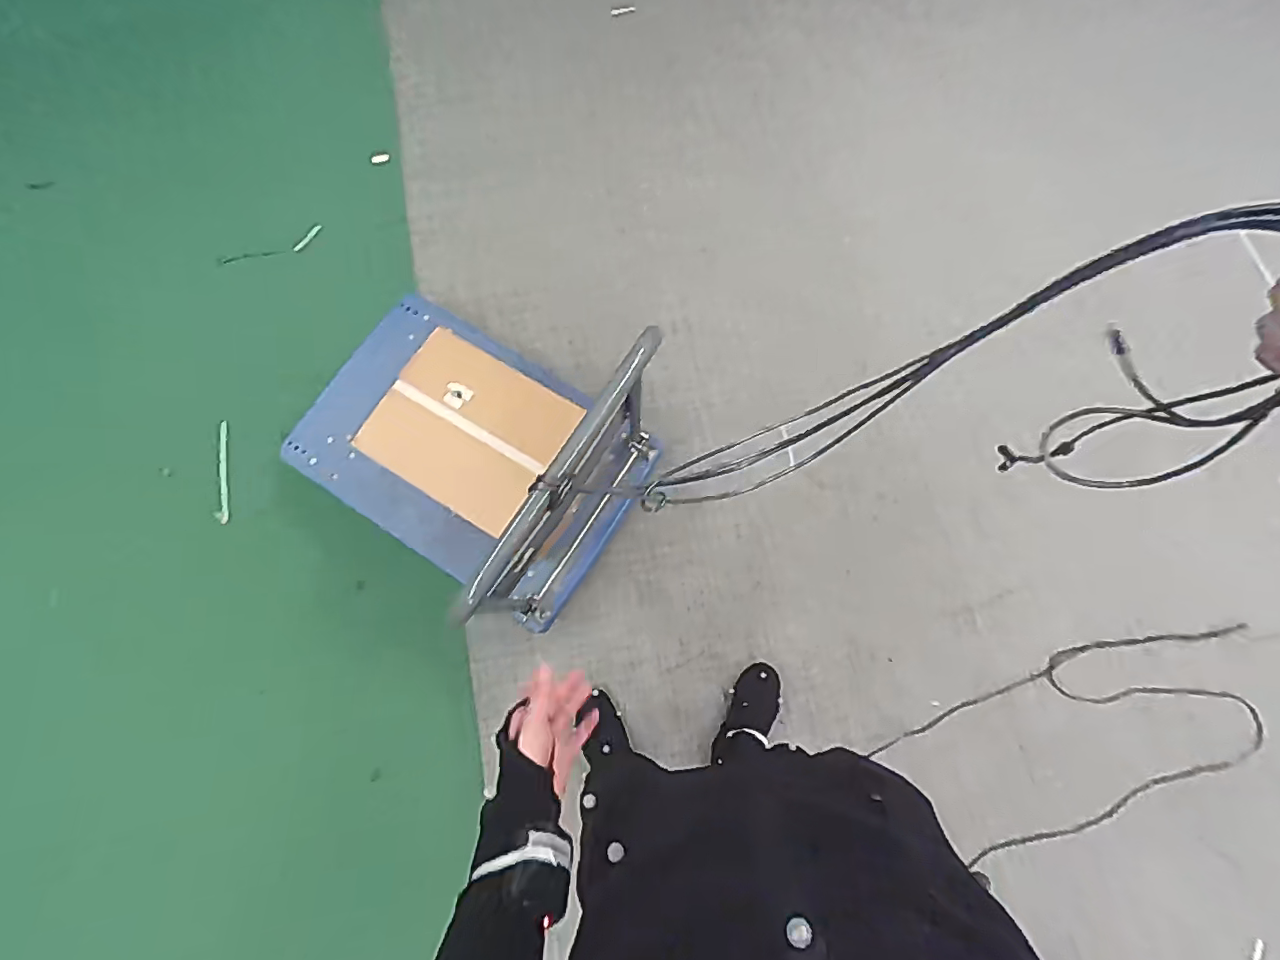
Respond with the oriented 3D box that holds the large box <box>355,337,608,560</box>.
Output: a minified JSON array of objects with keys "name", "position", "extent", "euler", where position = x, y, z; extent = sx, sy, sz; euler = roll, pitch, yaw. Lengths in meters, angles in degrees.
[{"name":"large box","position":[-0.332,-0.053,1.247],"extent":[0.408,0.320,0.320],"euler":[30,79,10]}]
